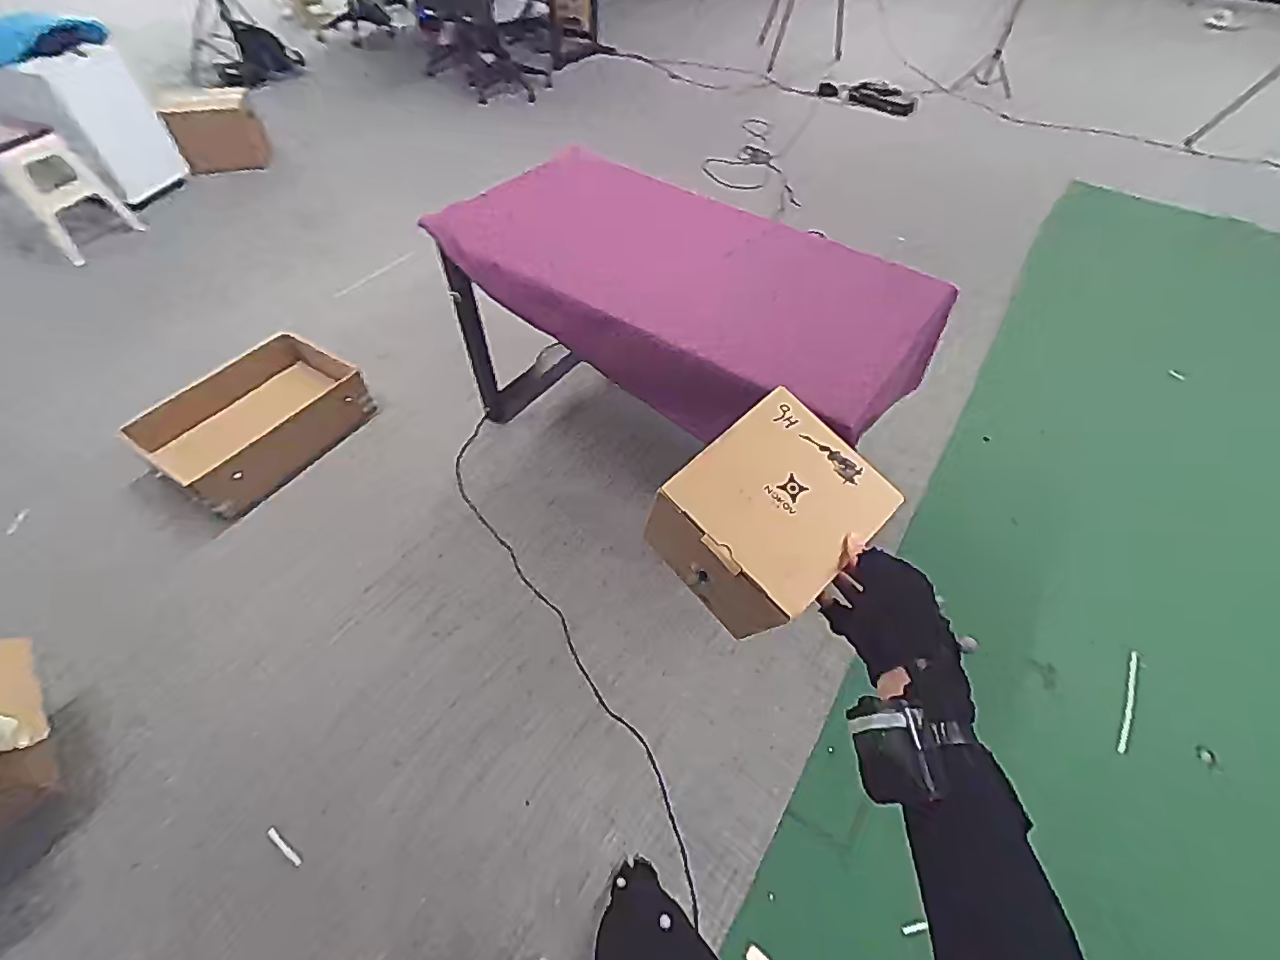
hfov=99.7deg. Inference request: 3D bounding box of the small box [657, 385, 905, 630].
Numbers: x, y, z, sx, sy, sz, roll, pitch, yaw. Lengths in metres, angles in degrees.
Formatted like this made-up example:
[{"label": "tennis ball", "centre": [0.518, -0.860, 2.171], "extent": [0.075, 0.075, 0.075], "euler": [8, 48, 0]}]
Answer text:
[{"label": "small box", "centre": [0.132, 0.040, 0.581], "extent": [0.179, 0.176, 0.168], "euler": [-39, 76, -17]}]
